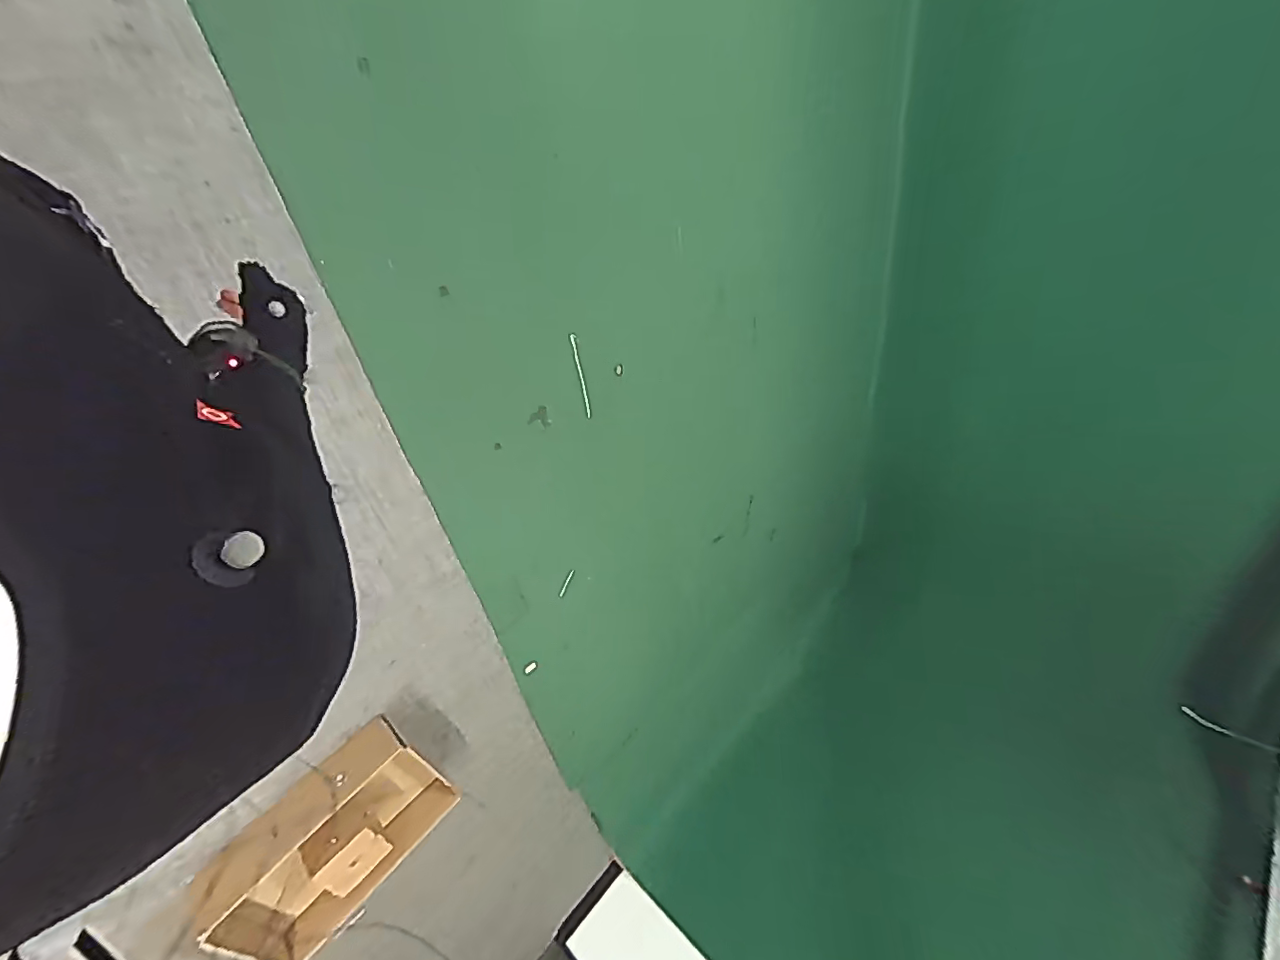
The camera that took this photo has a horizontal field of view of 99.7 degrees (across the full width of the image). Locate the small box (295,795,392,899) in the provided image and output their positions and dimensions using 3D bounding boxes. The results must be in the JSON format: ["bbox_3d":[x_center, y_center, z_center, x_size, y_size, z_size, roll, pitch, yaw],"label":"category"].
[{"bbox_3d":[-0.901,1.105,1.639,0.179,0.176,0.168,-40,133,-27],"label":"small box"}]
